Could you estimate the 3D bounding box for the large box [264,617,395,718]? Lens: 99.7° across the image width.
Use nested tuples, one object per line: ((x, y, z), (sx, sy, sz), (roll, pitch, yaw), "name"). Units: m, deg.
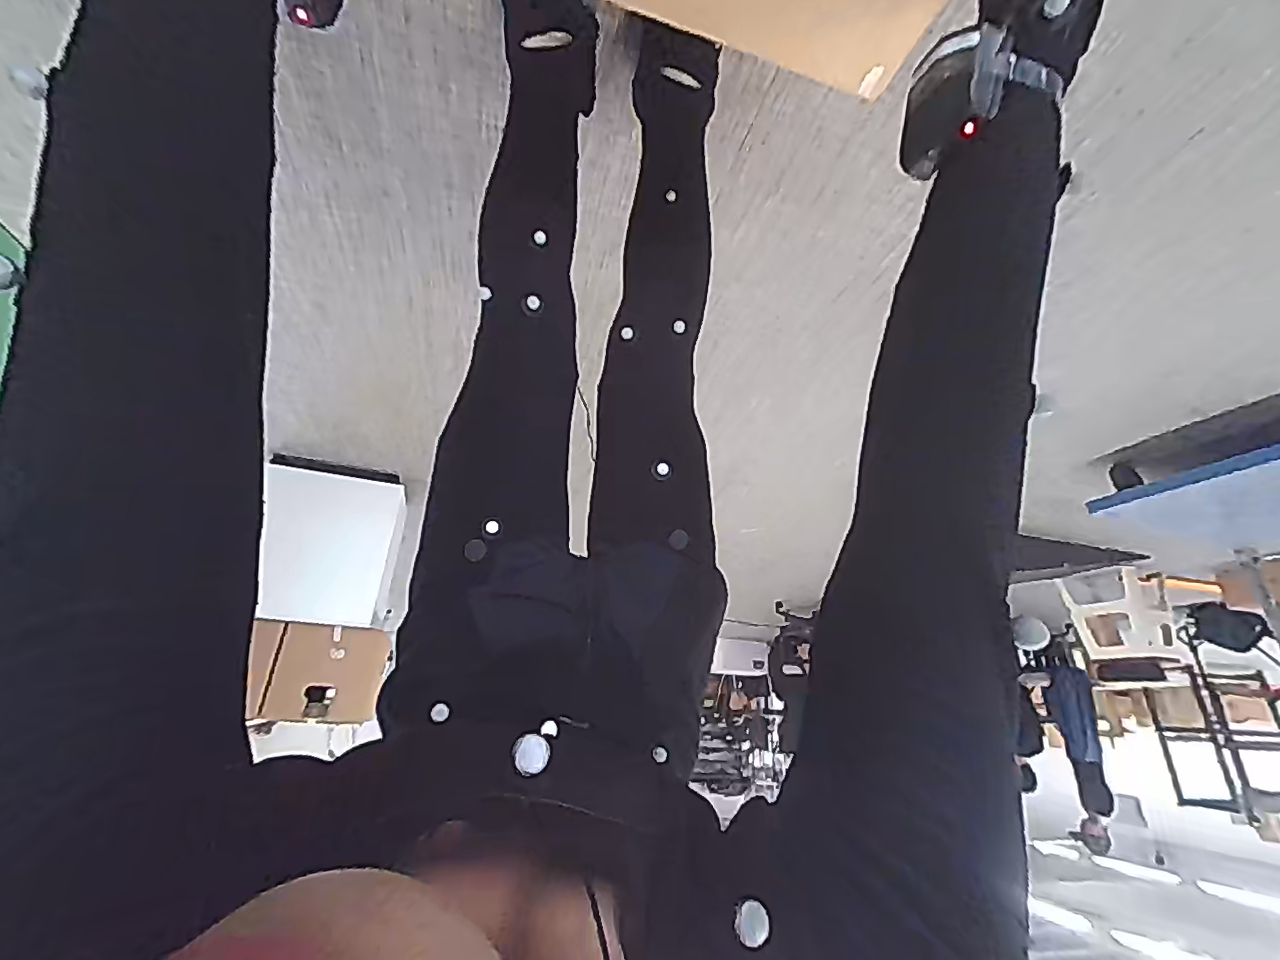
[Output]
((-1.115, 0.700, 1.998), (0.320, 0.320, 0.408), (11, 156, -16), "large box")
